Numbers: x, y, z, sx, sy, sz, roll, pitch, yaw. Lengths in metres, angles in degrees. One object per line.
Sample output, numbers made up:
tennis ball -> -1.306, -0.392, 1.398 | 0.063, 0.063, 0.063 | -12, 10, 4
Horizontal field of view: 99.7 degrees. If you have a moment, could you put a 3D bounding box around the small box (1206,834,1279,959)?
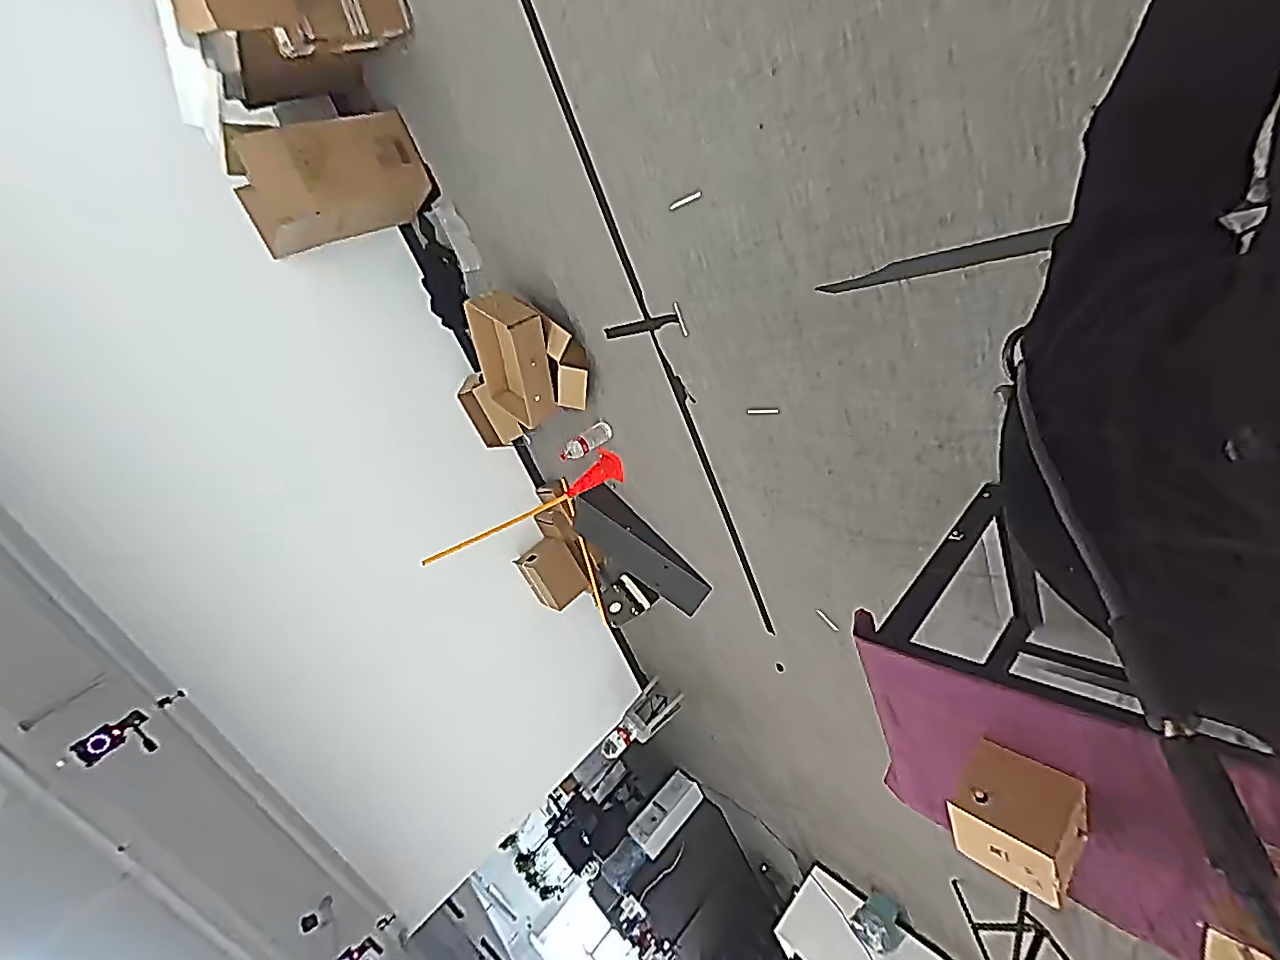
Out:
small box -> 0.930, 0.653, 0.760 | 0.168, 0.176, 0.179 | 10, 132, 52

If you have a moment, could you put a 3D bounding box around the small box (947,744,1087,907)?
small box -> 0.729, 0.649, 1.044 | 0.179, 0.176, 0.168 | 9, 130, 51
